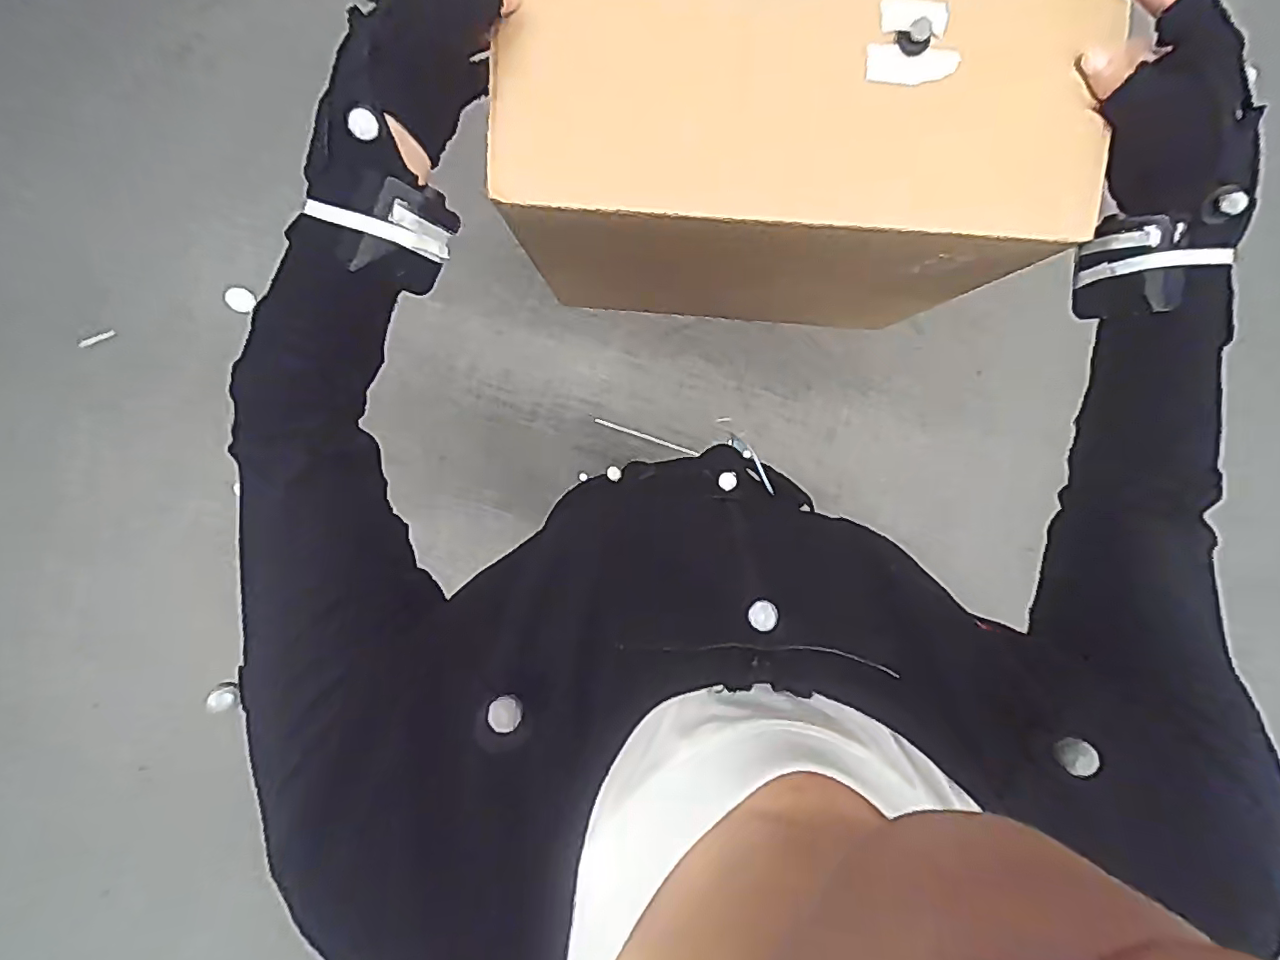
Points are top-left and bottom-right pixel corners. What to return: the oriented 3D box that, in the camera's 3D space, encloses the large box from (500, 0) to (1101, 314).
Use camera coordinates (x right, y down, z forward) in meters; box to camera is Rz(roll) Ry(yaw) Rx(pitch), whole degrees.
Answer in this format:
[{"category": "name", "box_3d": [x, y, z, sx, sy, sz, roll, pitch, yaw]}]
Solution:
[{"category": "large box", "box_3d": [0.106, -0.348, 0.506, 0.408, 0.320, 0.320, 3, 96, 0]}]
